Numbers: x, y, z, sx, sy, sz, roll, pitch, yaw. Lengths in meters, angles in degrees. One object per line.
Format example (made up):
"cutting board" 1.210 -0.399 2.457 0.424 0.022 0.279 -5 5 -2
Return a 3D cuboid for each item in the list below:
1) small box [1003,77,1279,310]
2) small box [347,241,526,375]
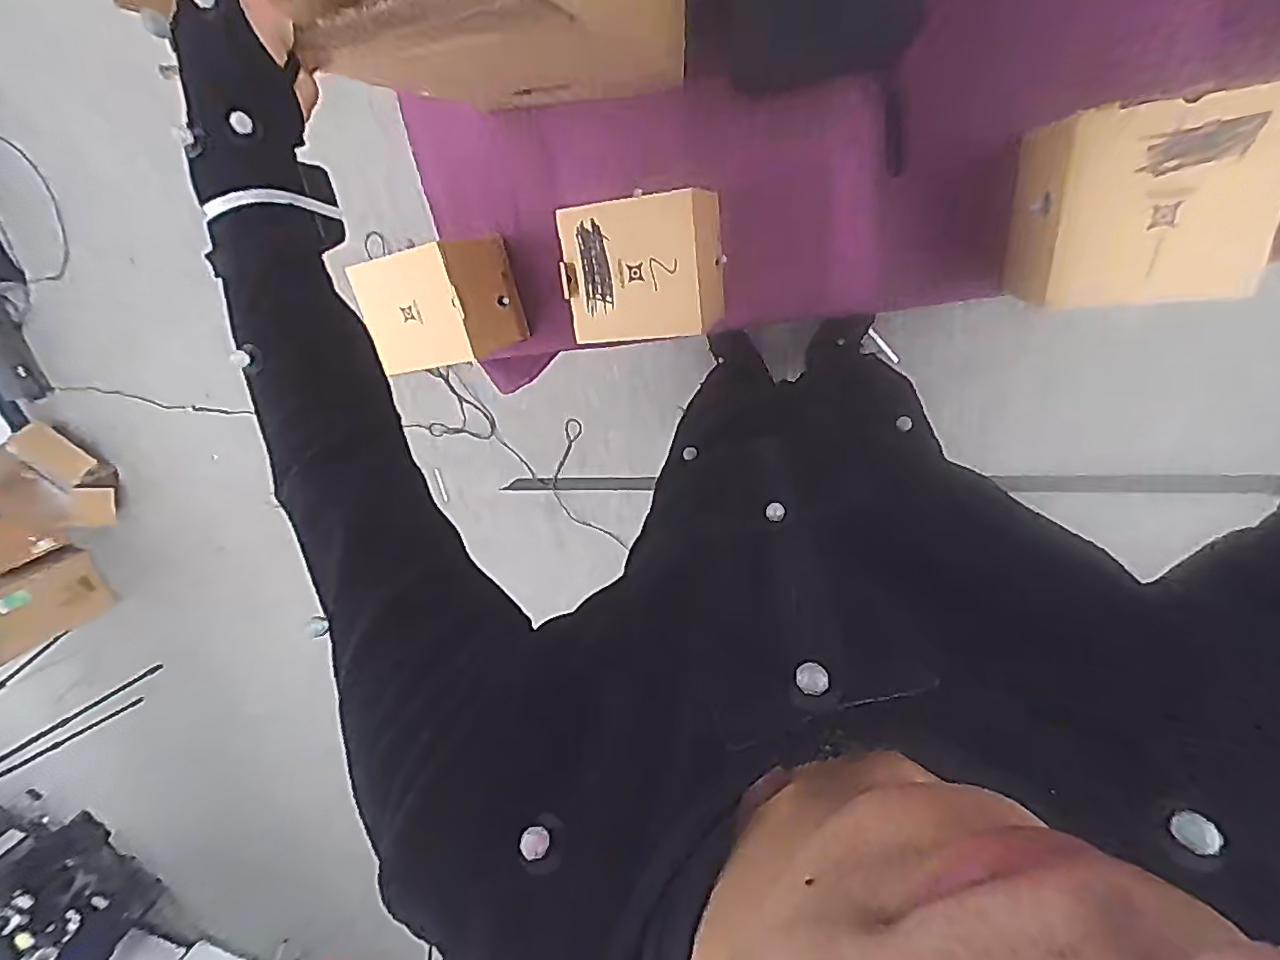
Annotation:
"small box" 0.500 -0.282 0.560 0.168 0.176 0.179 1 116 20
"small box" -0.311 -0.275 0.860 0.179 0.176 0.168 -5 113 21
